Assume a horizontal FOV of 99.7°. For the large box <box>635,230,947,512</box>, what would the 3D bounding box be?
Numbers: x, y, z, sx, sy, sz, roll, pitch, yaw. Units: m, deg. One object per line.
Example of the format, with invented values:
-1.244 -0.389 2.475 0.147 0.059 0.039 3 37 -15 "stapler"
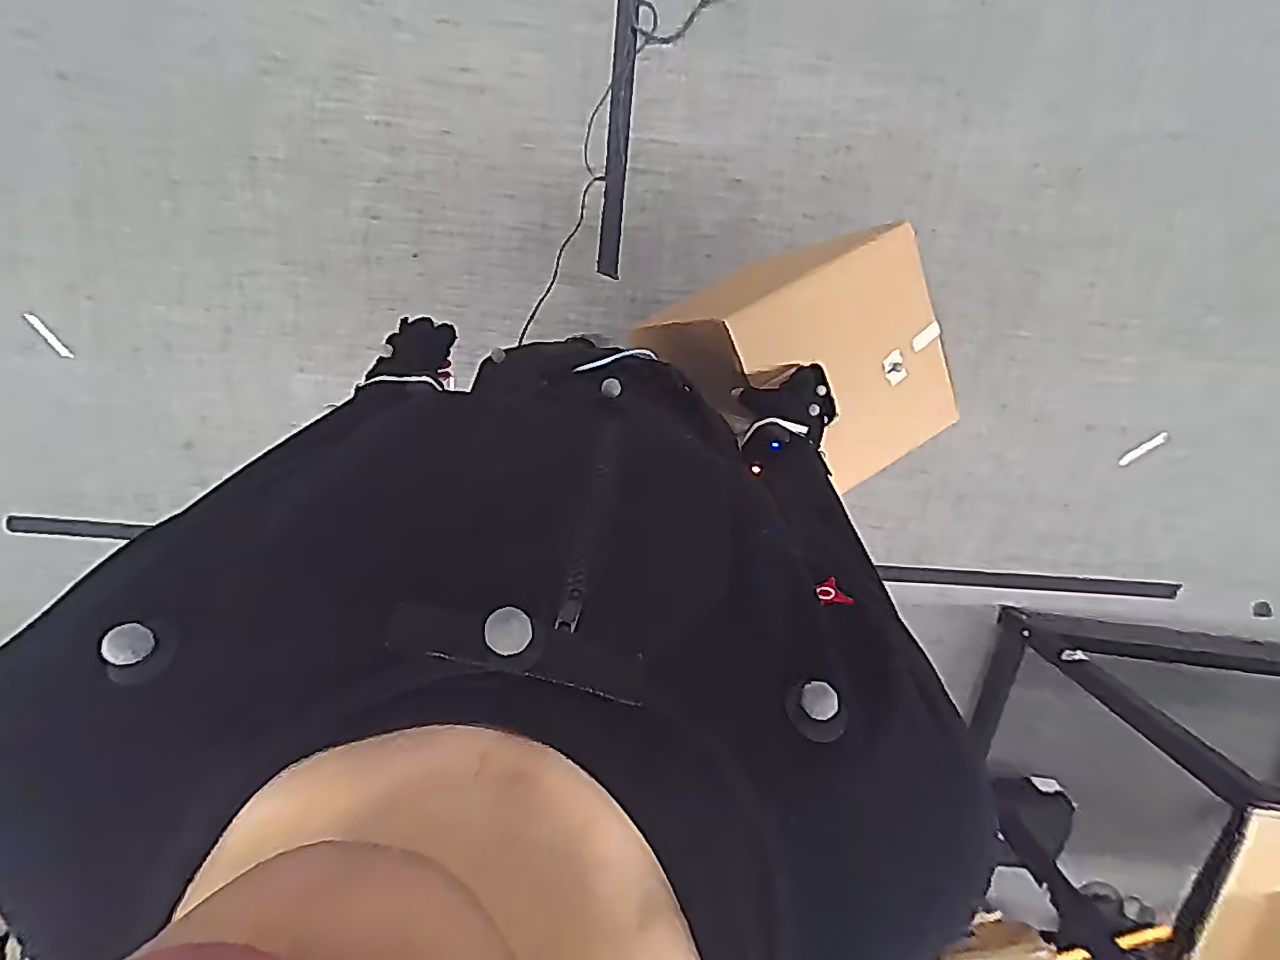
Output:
0.239 -0.194 0.954 0.320 0.408 0.320 -28 110 -9 "large box"
